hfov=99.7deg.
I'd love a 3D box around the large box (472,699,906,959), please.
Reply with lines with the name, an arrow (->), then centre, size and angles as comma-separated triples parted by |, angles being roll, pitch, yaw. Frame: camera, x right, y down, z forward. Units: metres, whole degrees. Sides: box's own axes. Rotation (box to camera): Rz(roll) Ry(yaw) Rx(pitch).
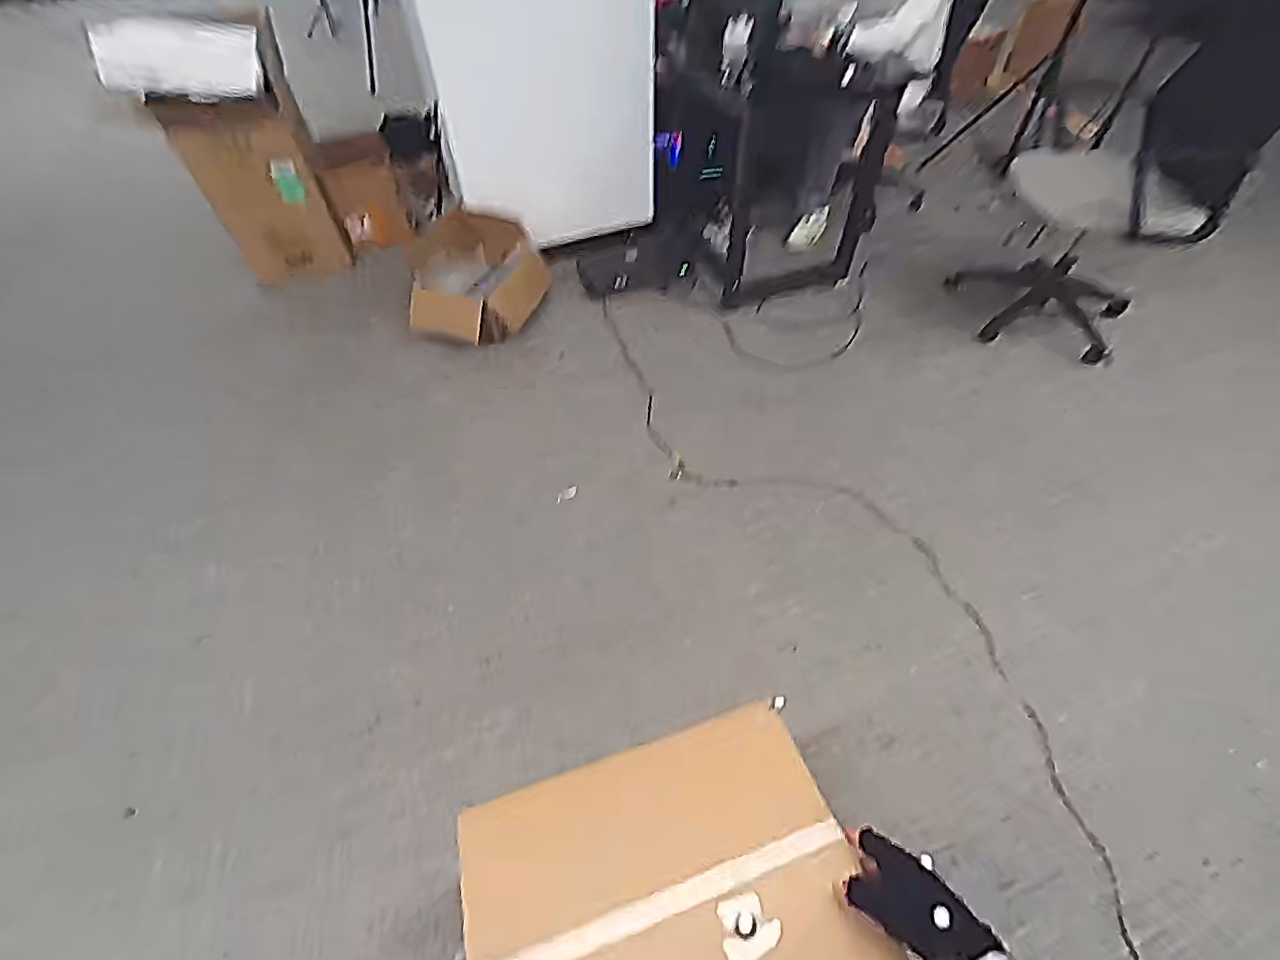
large box -> 0.039, 0.552, 0.685 | 0.408, 0.320, 0.320 | -15, 45, -12
